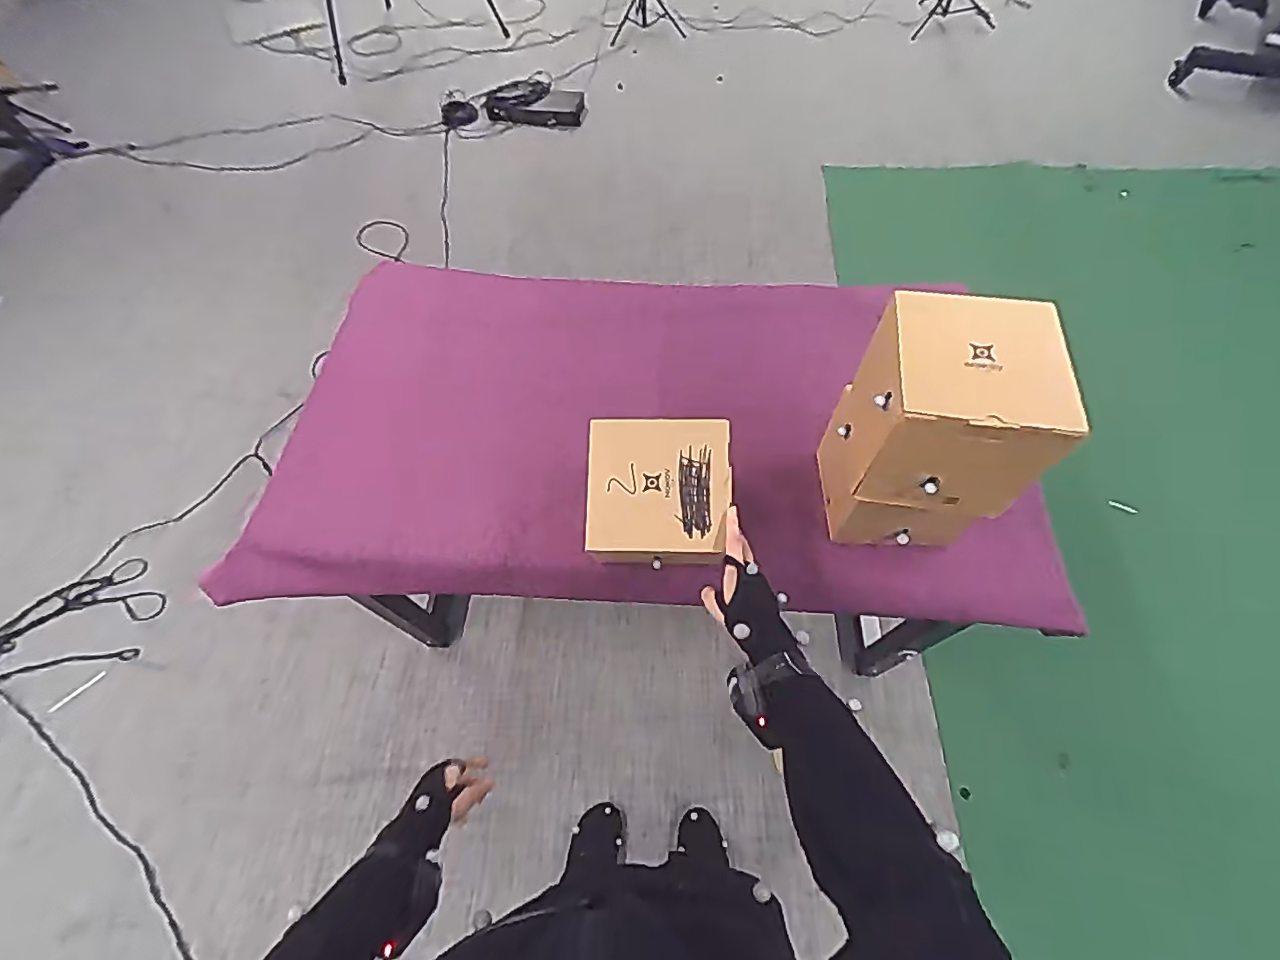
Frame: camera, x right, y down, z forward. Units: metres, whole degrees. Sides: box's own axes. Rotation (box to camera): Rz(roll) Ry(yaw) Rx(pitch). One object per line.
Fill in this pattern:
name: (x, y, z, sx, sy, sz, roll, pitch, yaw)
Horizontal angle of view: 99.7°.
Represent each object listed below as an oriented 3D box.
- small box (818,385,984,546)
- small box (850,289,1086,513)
small box: (0.366, -0.016, 0.759, 0.179, 0.176, 0.168, 1, 57, 3)
small box: (0.344, -0.085, 0.611, 0.168, 0.176, 0.179, 7, 60, 8)
